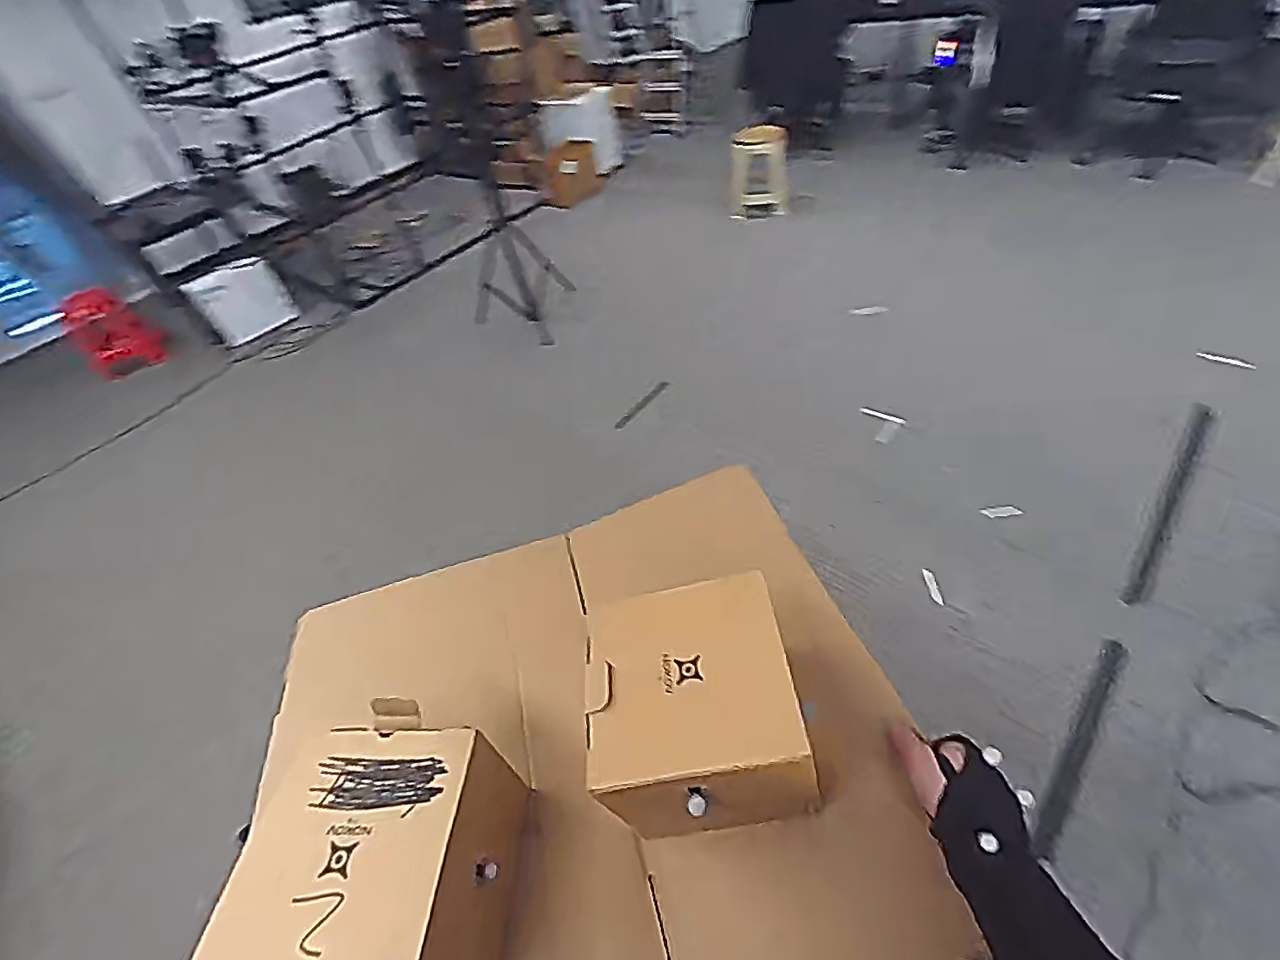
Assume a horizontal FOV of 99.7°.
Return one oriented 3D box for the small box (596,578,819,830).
[{"bbox_3d":[0.067,0.222,0.526,0.179,0.176,0.168,-14,44,10],"label":"small box"}]
